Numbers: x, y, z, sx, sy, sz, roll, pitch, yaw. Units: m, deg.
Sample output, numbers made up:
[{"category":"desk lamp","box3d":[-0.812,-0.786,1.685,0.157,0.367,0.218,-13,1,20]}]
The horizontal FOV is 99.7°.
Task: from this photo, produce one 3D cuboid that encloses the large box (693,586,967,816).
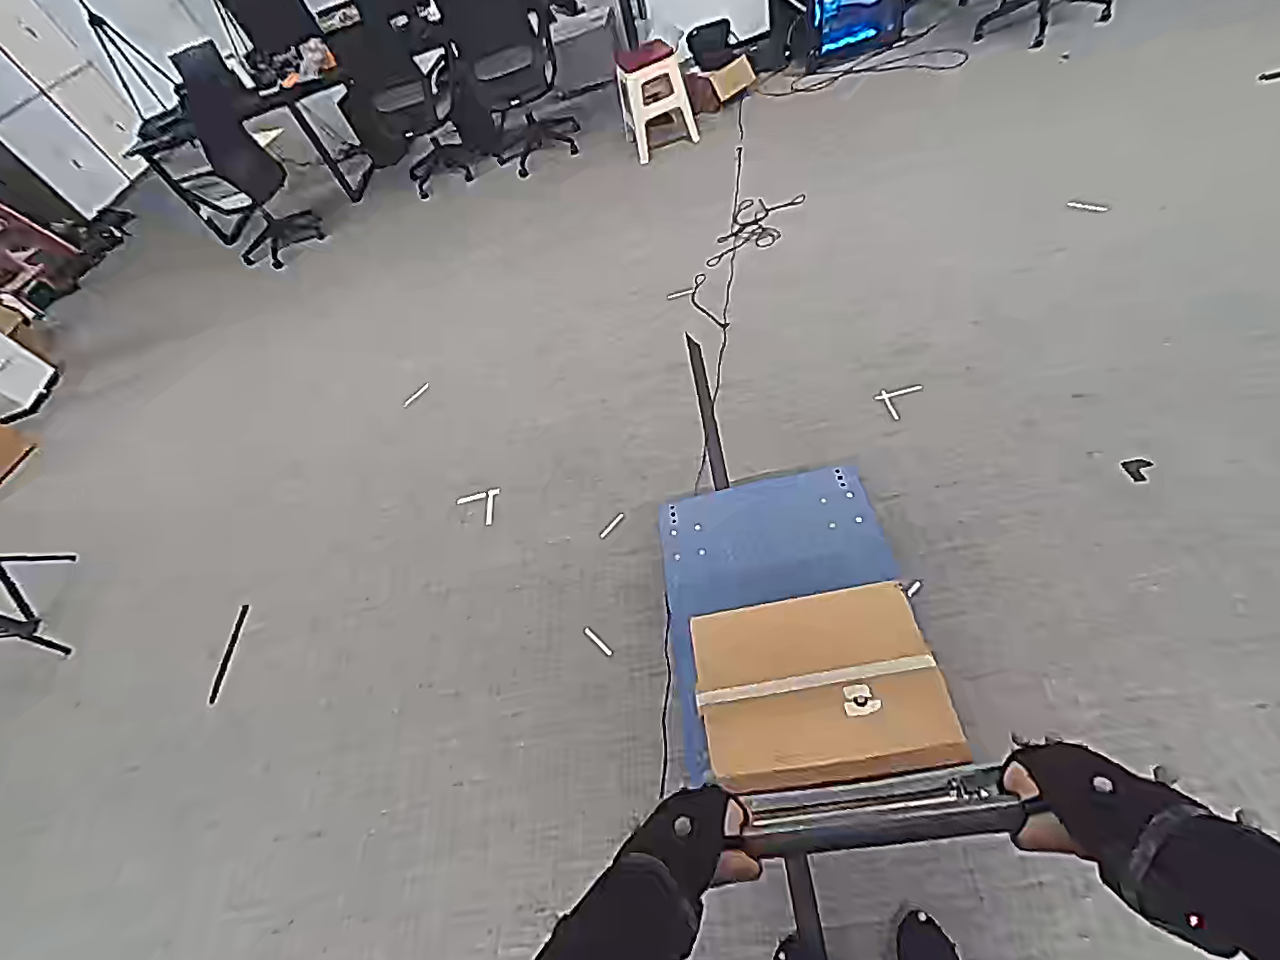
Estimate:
[{"category":"large box","box3d":[0.345,0.452,1.080,0.408,0.320,0.320,-13,52,8]}]
